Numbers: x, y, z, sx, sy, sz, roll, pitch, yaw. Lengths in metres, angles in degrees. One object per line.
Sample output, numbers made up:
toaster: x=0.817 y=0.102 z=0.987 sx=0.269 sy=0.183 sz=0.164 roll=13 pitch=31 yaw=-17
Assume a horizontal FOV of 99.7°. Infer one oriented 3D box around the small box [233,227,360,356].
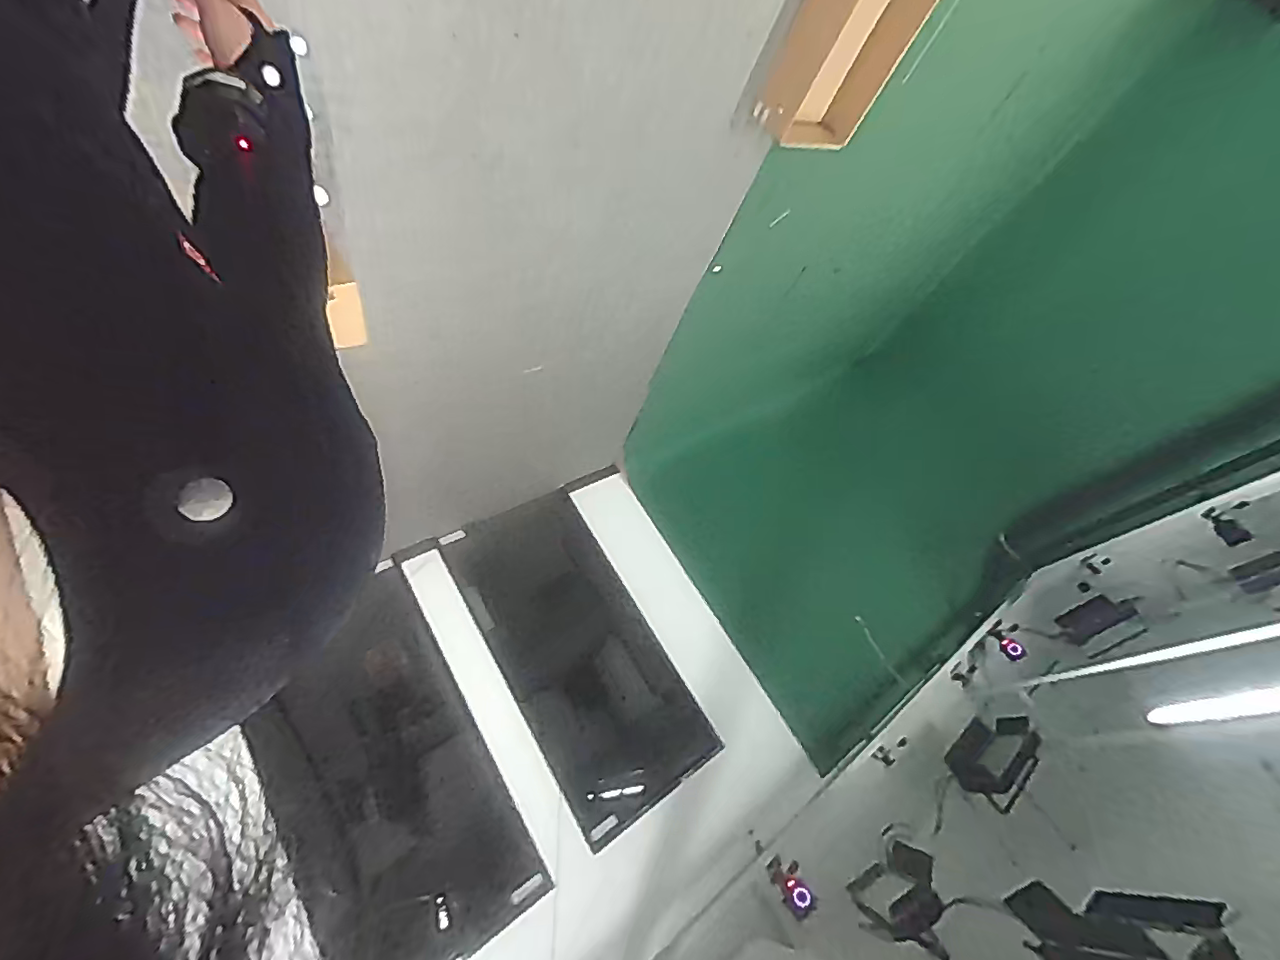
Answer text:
small box: x=-0.706 y=-0.392 z=1.125 sx=0.168 sy=0.176 sz=0.179 roll=-24 pitch=162 yaw=-30
